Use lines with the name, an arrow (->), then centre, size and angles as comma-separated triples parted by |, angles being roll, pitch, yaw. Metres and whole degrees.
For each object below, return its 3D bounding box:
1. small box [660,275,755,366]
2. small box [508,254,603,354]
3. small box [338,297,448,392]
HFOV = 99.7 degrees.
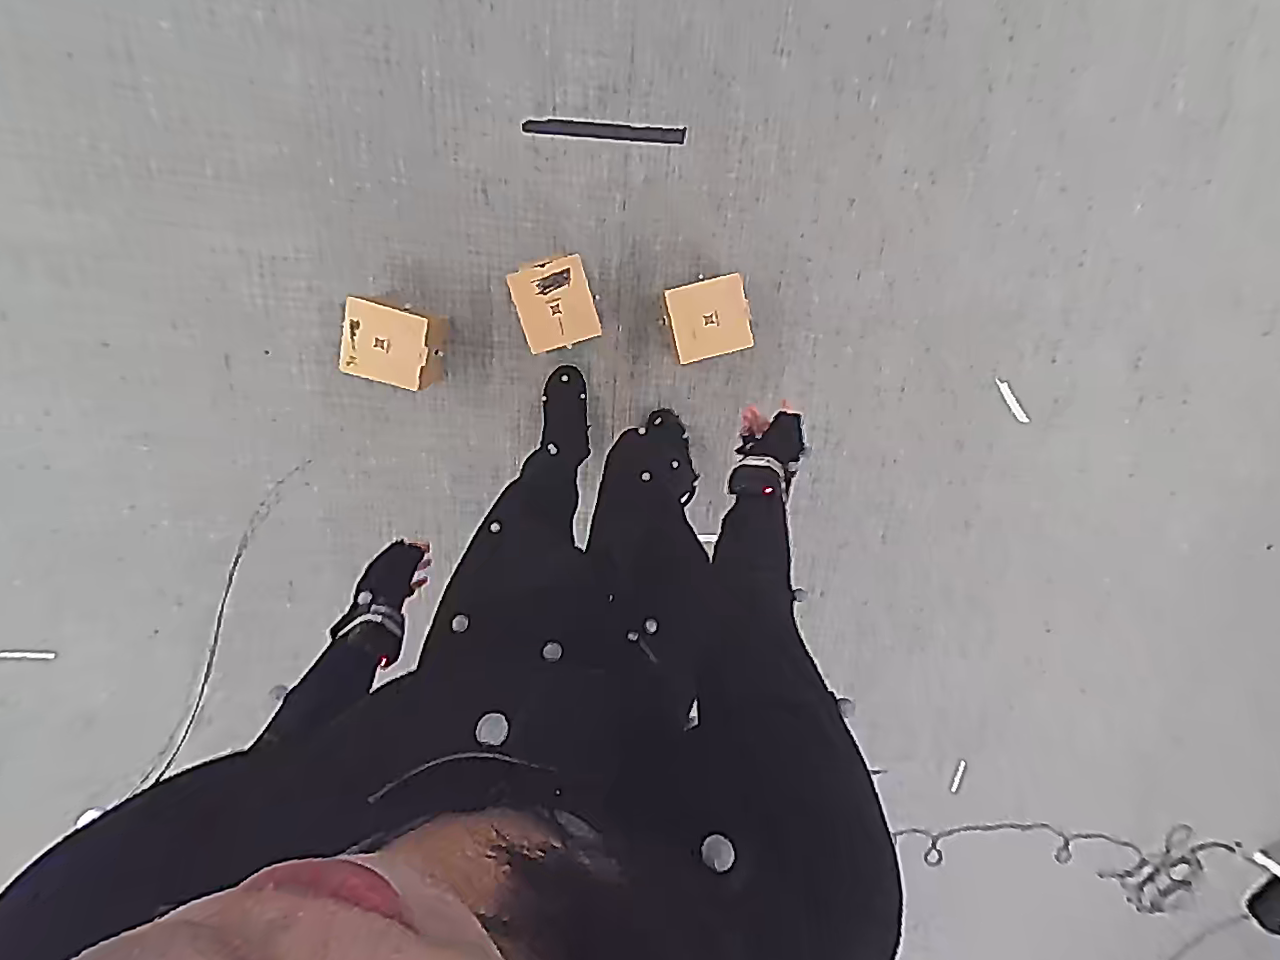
small box -> 0.152, -0.377, 1.268 | 0.179, 0.176, 0.168 | -14, 108, 2
small box -> -0.186, -0.399, 1.236 | 0.168, 0.176, 0.179 | -15, 109, 2
small box -> -0.558, -0.316, 1.243 | 0.179, 0.176, 0.168 | 15, 107, -8
